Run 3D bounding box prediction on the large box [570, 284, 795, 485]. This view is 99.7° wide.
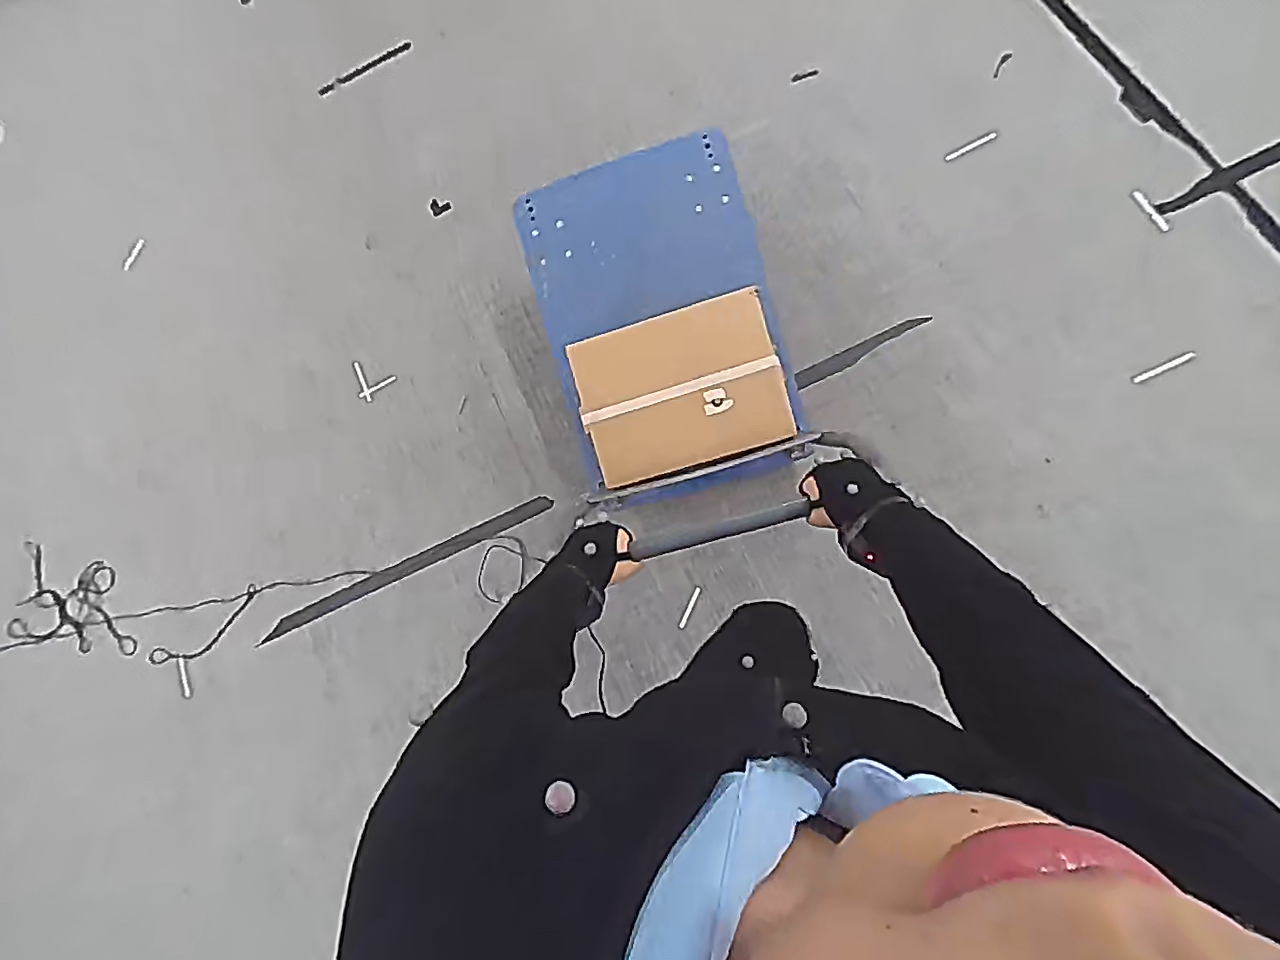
[{"bbox_3d":[0.095,-0.197,1.260,0.408,0.320,0.320,-17,91,5],"label":"large box"}]
